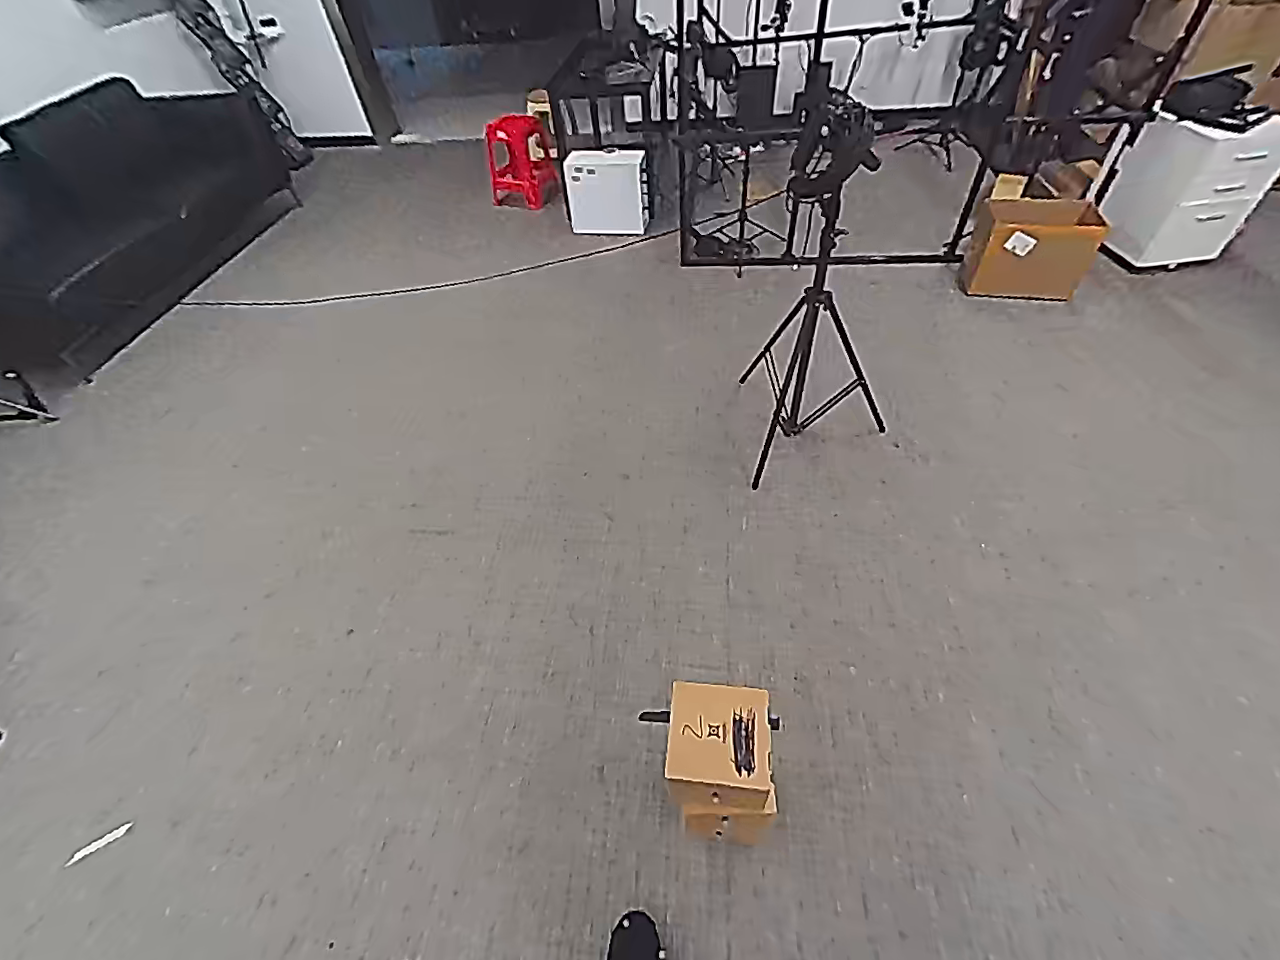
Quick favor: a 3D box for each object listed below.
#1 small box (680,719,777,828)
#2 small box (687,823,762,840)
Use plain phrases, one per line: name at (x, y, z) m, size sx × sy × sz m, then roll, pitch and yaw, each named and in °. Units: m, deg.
small box at (0.172, 0.604, 1.111) m, size 0.179 × 0.176 × 0.168 m, roll -3°, pitch 48°, yaw 4°
small box at (0.191, 0.704, 1.238) m, size 0.168 × 0.176 × 0.179 m, roll 4°, pitch 49°, yaw 9°
